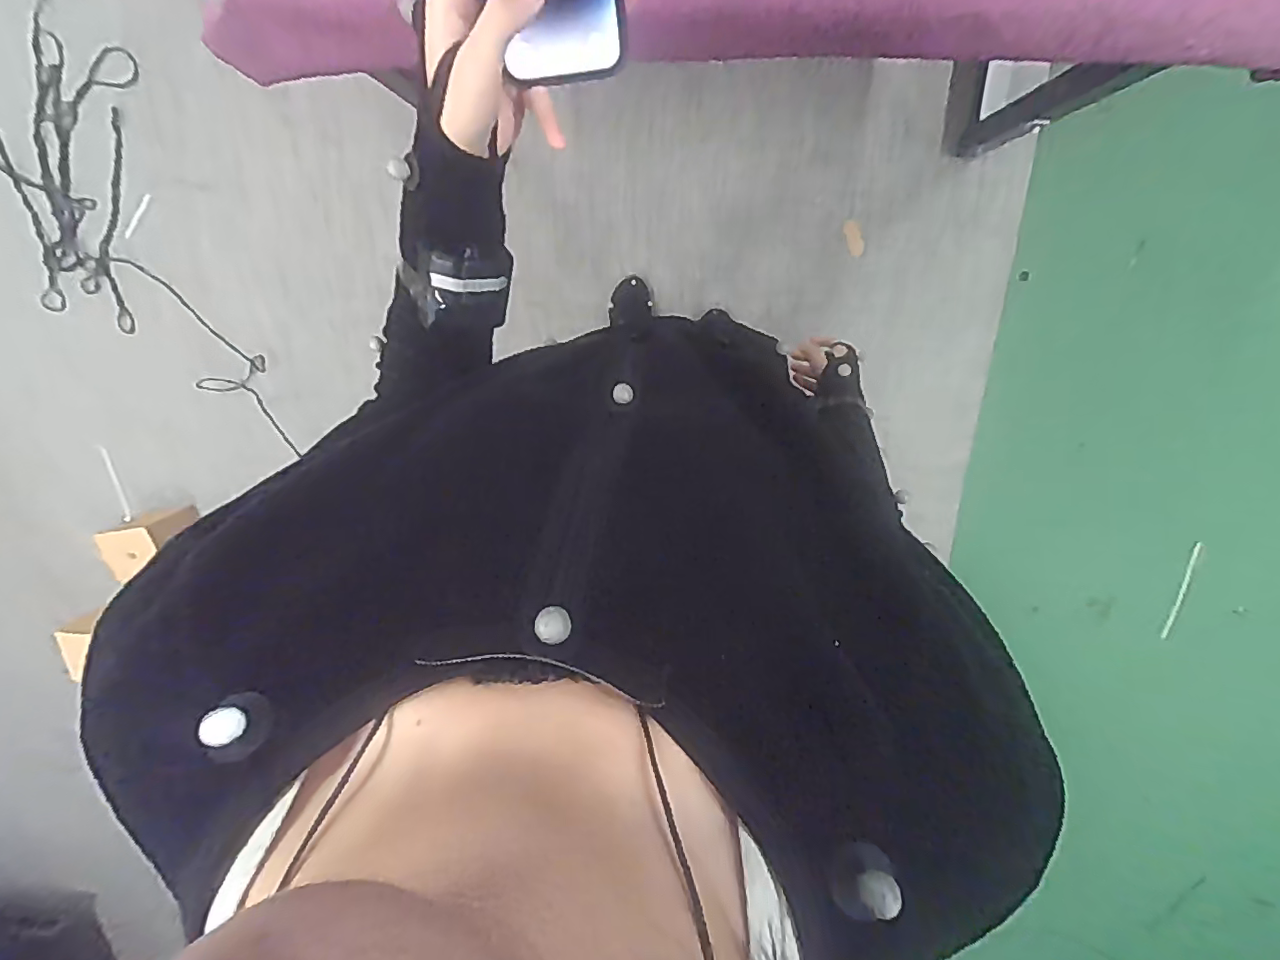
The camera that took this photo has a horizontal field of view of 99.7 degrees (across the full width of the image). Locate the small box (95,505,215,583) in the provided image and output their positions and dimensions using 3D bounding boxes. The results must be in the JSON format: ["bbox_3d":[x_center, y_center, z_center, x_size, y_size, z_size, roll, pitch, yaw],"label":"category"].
[{"bbox_3d":[-1.447,0.189,1.624,0.179,0.176,0.168,-9,110,6],"label":"small box"}]

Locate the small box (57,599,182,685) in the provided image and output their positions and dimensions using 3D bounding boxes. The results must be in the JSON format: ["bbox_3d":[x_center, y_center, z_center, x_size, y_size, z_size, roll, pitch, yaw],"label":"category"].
[{"bbox_3d":[-1.476,0.456,1.545,0.179,0.176,0.168,2,110,4],"label":"small box"}]
